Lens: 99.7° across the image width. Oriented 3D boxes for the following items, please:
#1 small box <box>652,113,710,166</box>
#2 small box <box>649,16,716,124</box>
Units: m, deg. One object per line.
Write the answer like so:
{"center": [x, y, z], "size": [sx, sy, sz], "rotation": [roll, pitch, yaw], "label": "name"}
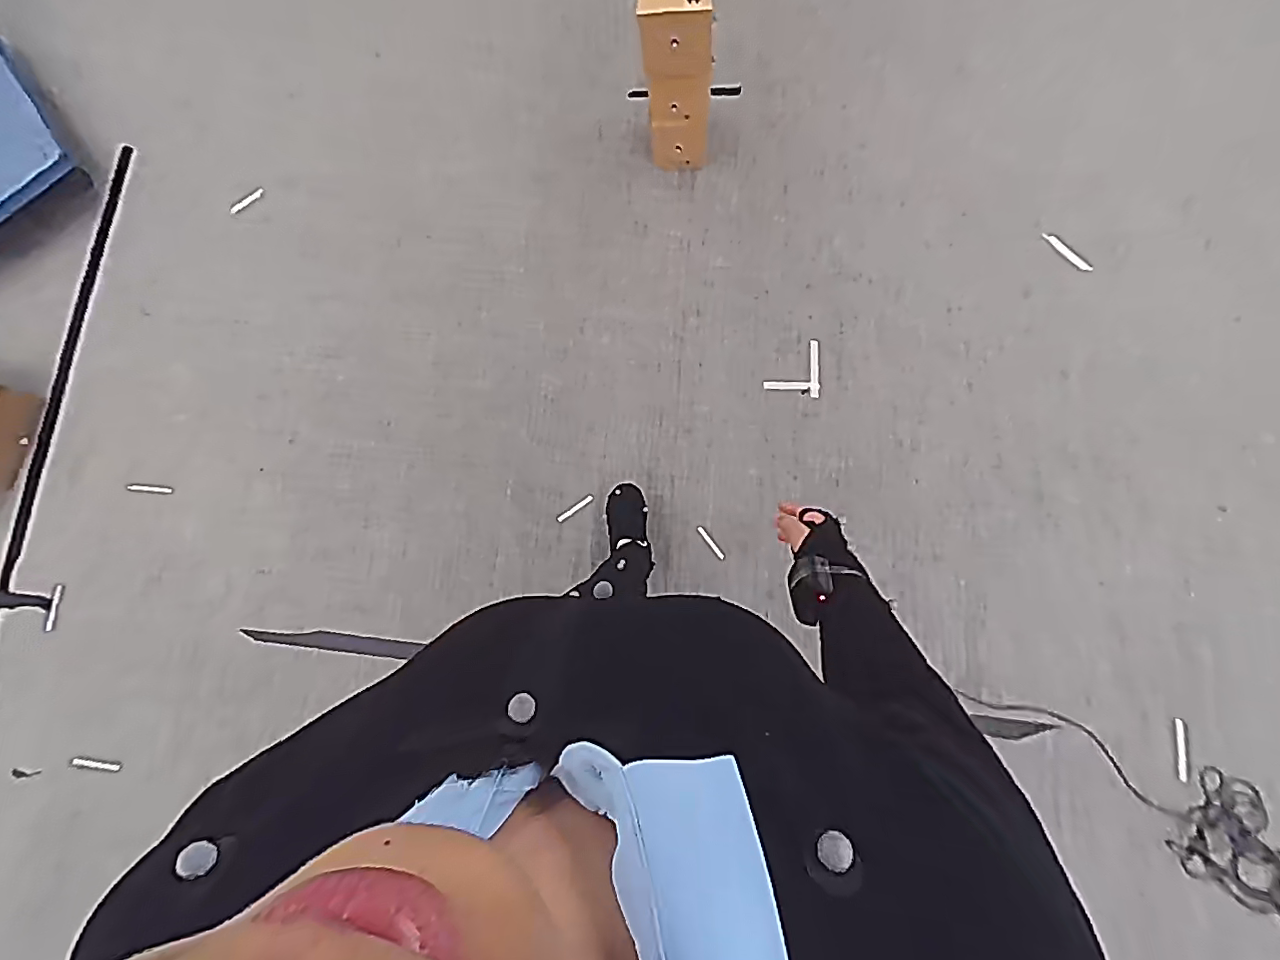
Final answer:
{"center": [0.129, -1.085, 1.645], "size": [0.168, 0.176, 0.179], "rotation": [2, 80, 6], "label": "small box"}
{"center": [0.118, -1.122, 1.487], "size": [0.168, 0.176, 0.179], "rotation": [4, 81, 7], "label": "small box"}
